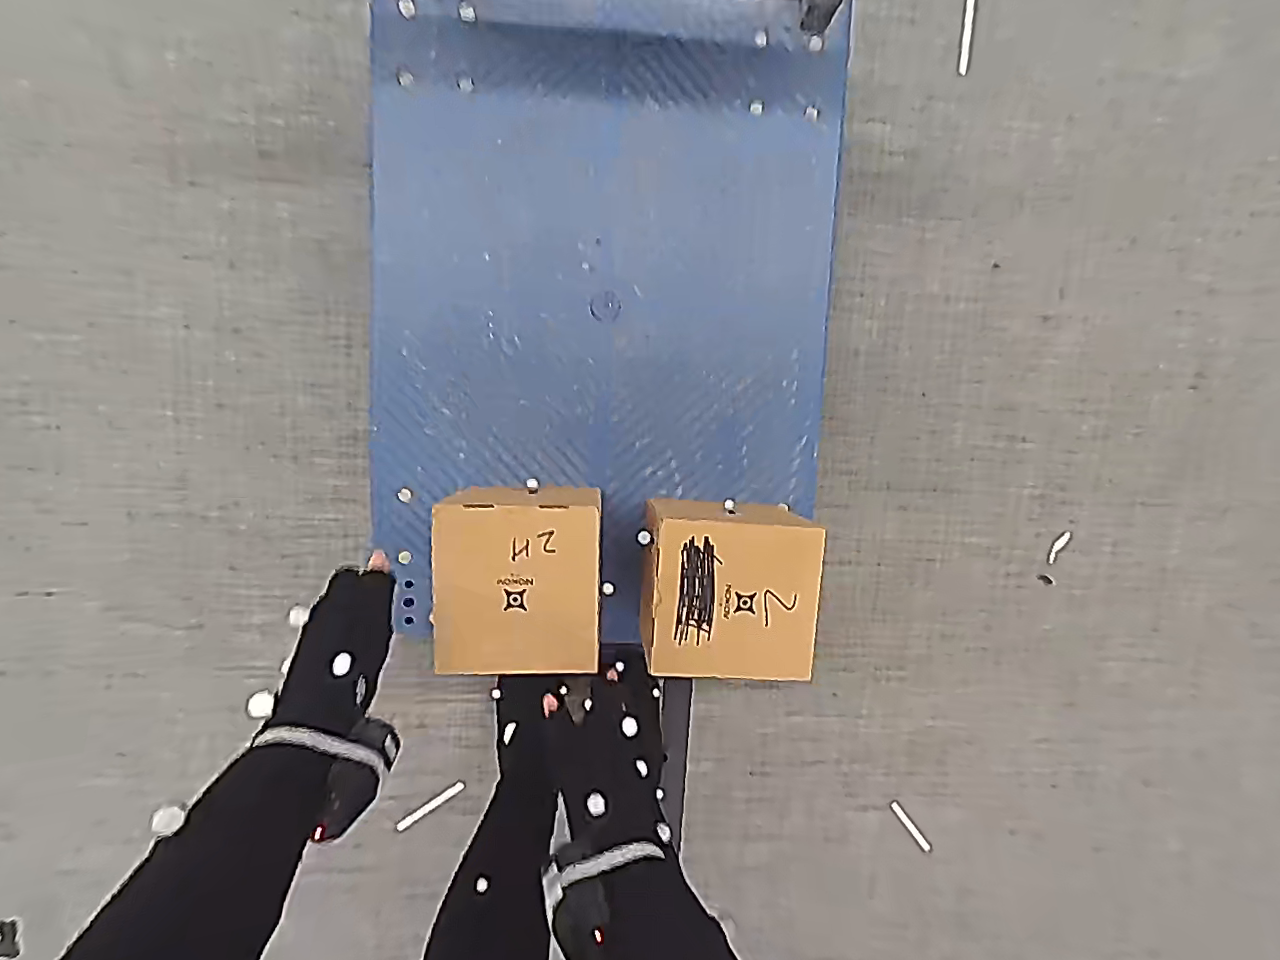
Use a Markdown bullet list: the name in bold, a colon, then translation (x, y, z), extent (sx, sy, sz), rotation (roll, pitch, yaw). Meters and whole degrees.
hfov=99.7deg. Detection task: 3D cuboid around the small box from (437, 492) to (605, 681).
- **small box**: translation (-0.126, 0.112, 0.627), extent (0.168, 0.176, 0.179), rotation (1, 95, -3)
